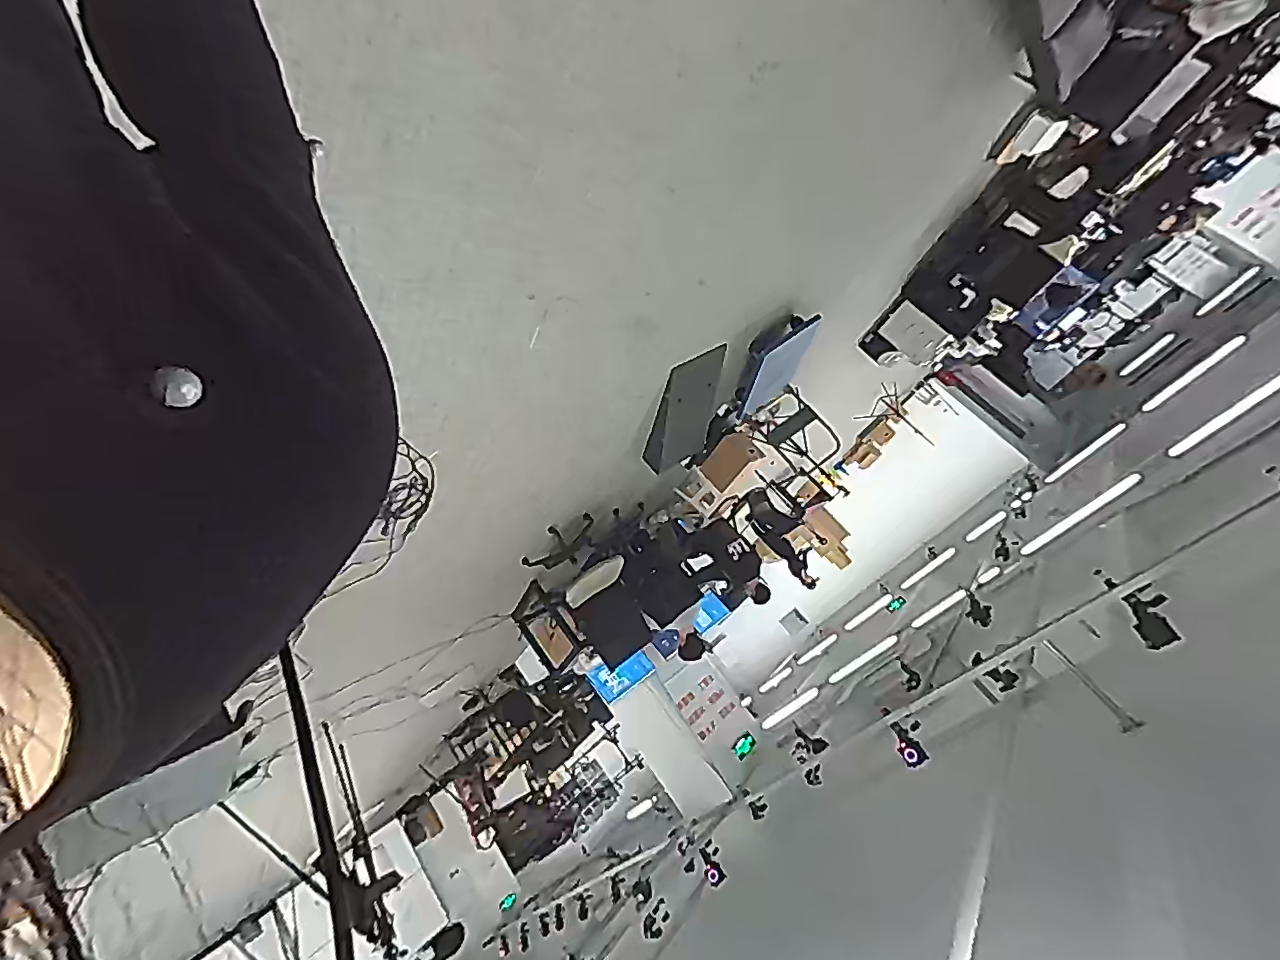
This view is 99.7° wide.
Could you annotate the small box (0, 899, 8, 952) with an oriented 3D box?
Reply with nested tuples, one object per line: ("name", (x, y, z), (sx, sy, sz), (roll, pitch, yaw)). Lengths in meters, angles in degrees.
("small box", (-1.571, 1.019, 1.218), (0.179, 0.176, 0.168), (-51, 160, 28))
